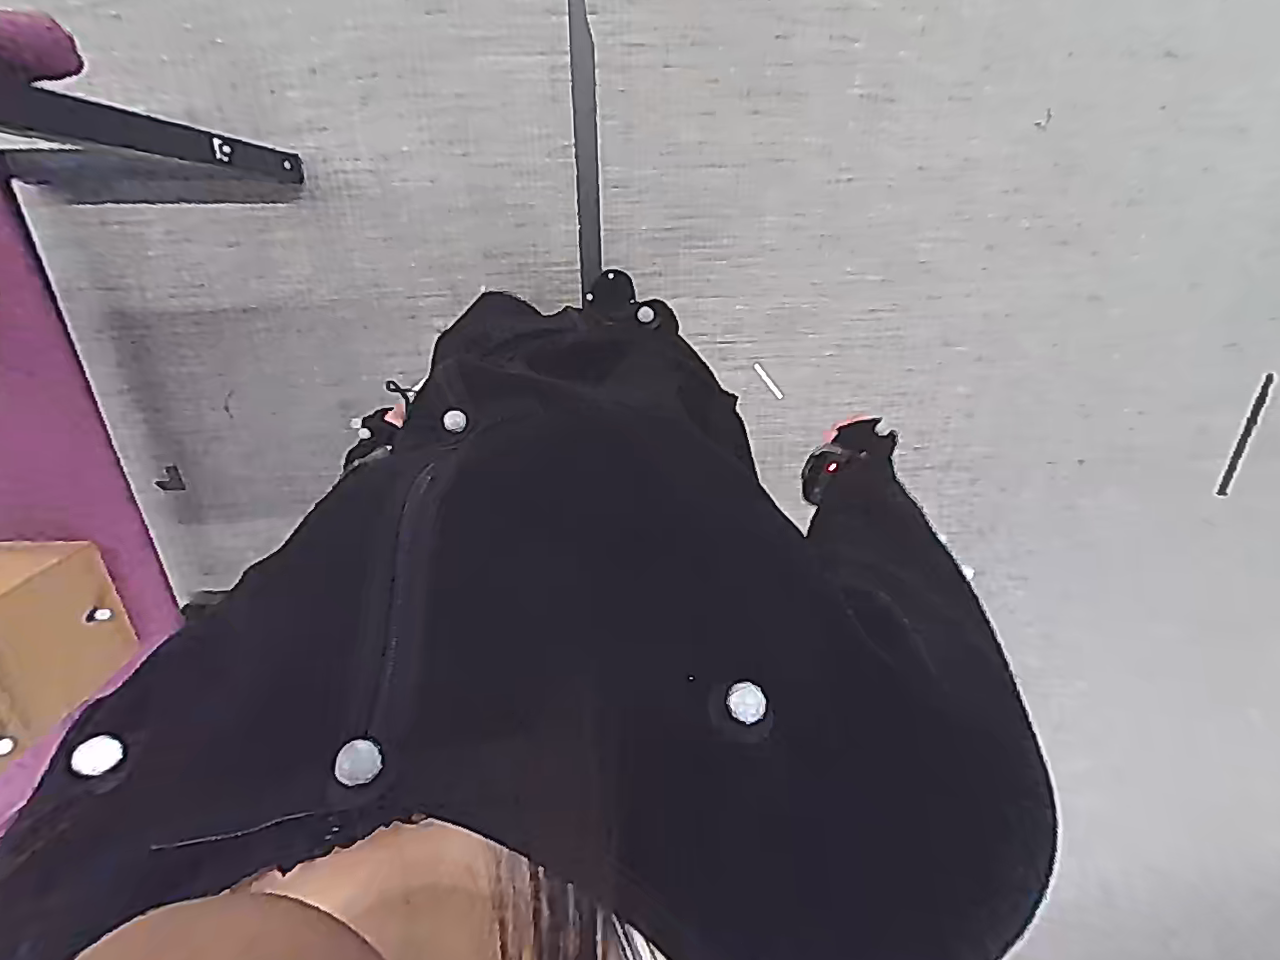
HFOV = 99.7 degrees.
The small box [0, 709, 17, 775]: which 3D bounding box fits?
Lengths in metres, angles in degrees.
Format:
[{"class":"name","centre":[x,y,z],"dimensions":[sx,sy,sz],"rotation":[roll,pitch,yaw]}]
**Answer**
[{"class":"small box","centre":[-0.739,0.259,0.482],"dimensions":[0.179,0.176,0.168],"rotation":[0,114,-3]}]

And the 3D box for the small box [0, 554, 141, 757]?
[{"class":"small box","centre":[-0.756,0.196,0.634],"dimensions":[0.168,0.176,0.179],"rotation":[-1,113,-4]}]
